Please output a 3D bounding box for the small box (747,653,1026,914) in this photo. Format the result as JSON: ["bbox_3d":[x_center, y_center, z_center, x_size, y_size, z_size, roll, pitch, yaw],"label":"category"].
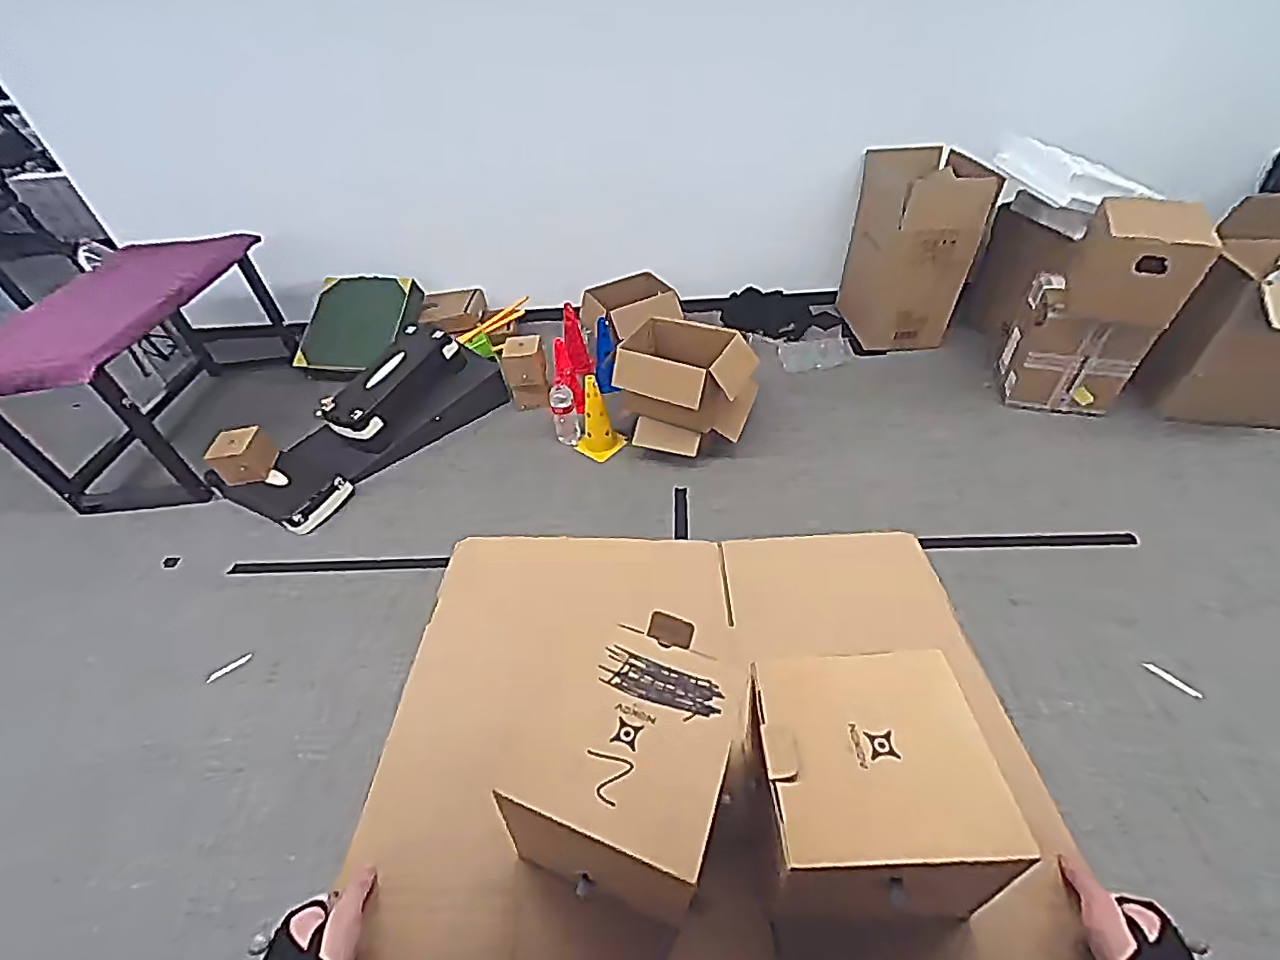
[{"bbox_3d":[0.201,0.282,0.504,0.179,0.176,0.168,-5,40,4],"label":"small box"}]
